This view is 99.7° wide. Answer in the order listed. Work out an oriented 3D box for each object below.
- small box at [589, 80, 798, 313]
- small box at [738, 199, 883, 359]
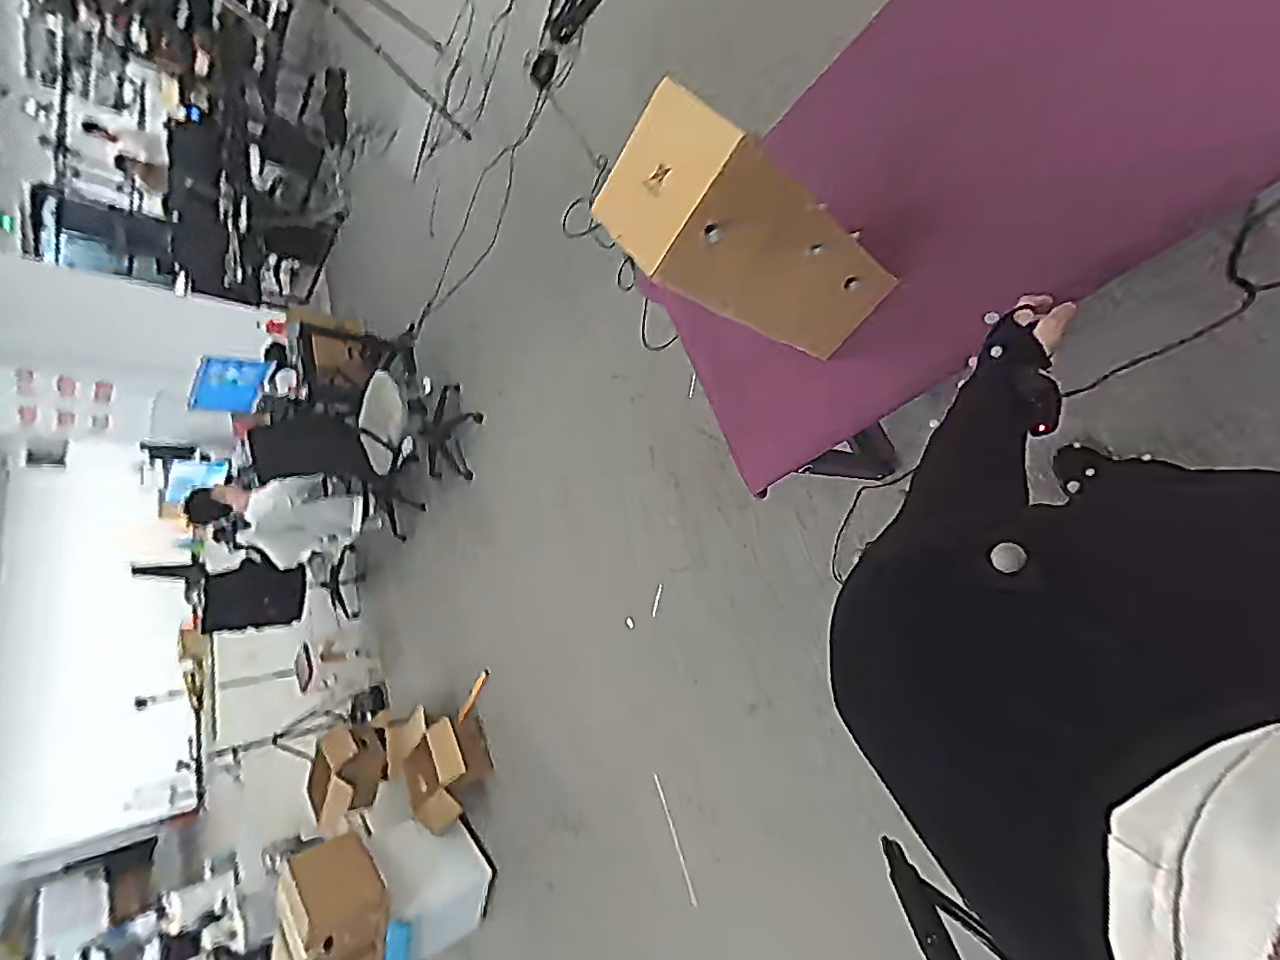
[{"bbox_3d":[0.074,-0.345,0.687,0.179,0.176,0.168,-52,57,28],"label":"small box"},{"bbox_3d":[0.290,-0.336,0.932,0.179,0.176,0.168,-50,56,29],"label":"small box"}]
